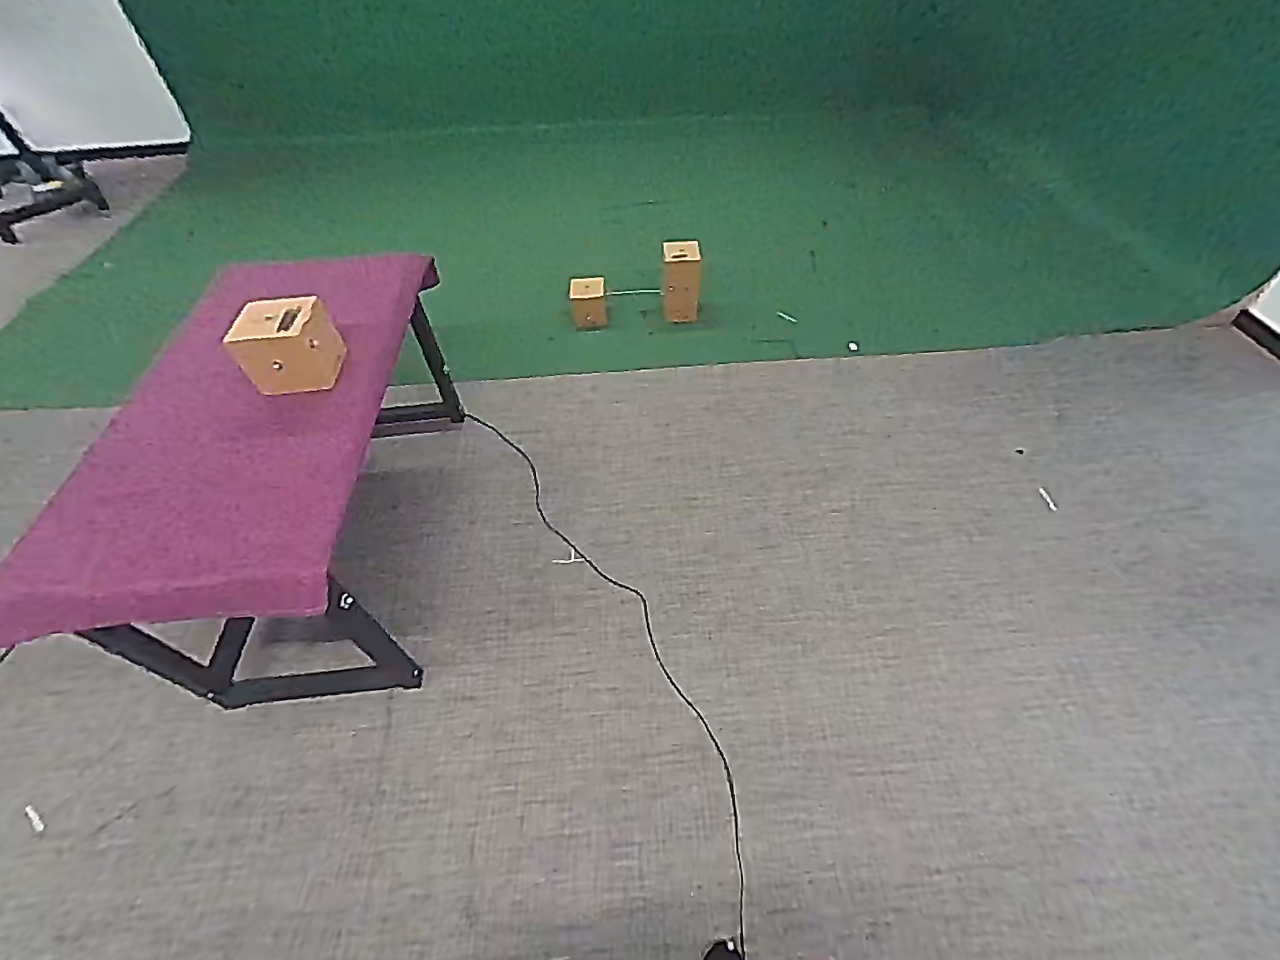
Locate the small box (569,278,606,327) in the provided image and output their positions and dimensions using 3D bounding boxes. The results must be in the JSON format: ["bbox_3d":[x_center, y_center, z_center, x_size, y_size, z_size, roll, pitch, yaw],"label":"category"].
[{"bbox_3d":[-0.263,-0.893,2.724,0.168,0.176,0.179,-3,51,0],"label":"small box"}]

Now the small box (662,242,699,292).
[{"bbox_3d":[0.191,-1.021,2.603,0.168,0.176,0.179,-2,51,-1],"label":"small box"}]

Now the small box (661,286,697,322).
[{"bbox_3d":[0.193,-0.918,2.732,0.168,0.176,0.179,-2,51,-1],"label":"small box"}]
